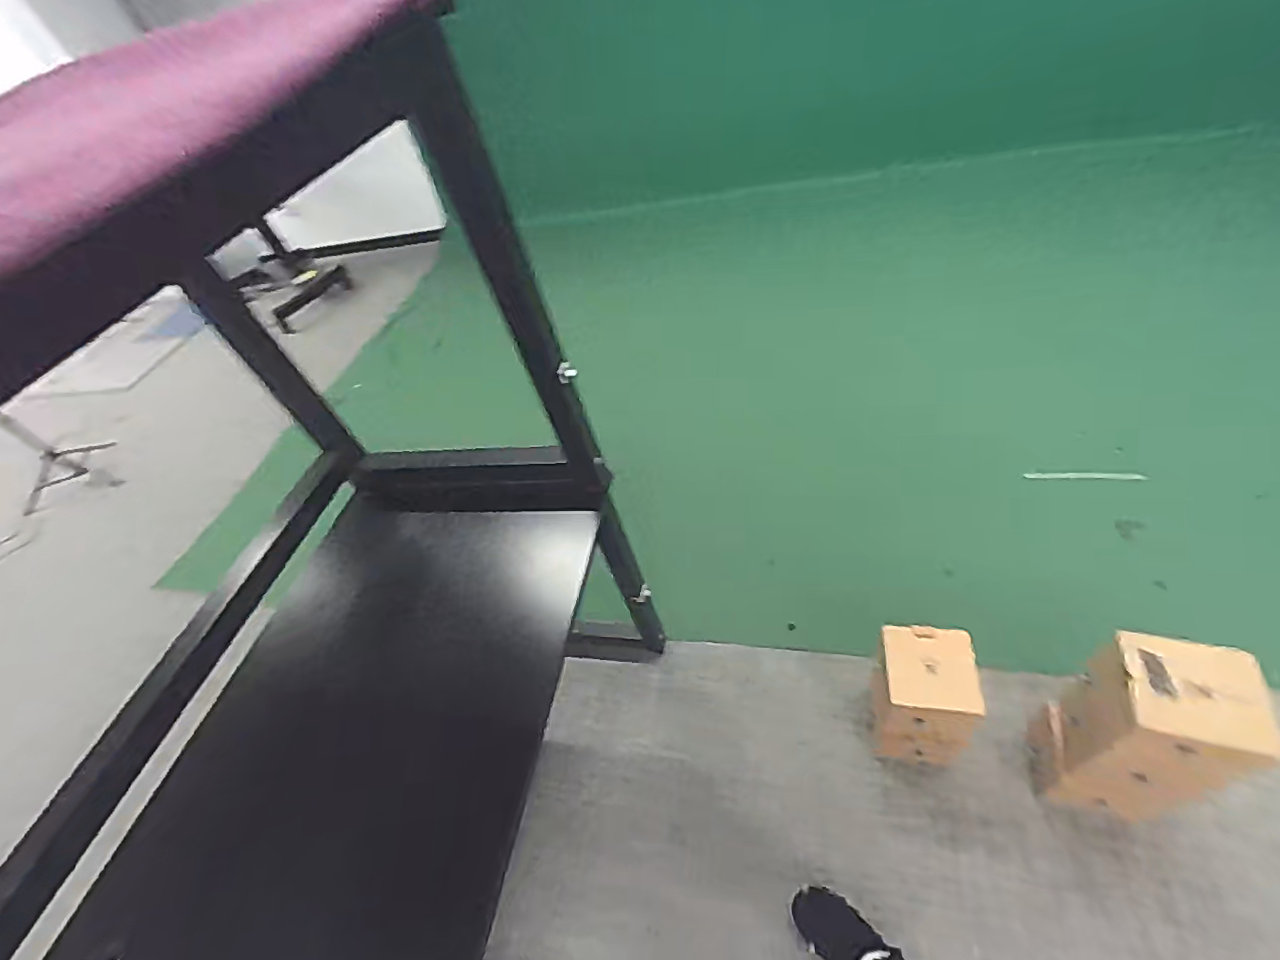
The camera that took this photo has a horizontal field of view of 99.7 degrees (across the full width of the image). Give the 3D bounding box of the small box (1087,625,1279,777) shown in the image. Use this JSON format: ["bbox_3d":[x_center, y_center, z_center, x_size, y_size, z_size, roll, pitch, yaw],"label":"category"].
[{"bbox_3d":[0.879,0.368,0.896,0.179,0.176,0.168,7,52,21],"label":"small box"}]

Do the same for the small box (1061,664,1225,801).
[{"bbox_3d":[0.921,0.474,1.014,0.179,0.176,0.168,9,53,23],"label":"small box"}]

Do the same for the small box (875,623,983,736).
[{"bbox_3d":[0.604,0.427,1.152,0.168,0.176,0.179,-1,47,16],"label":"small box"}]
